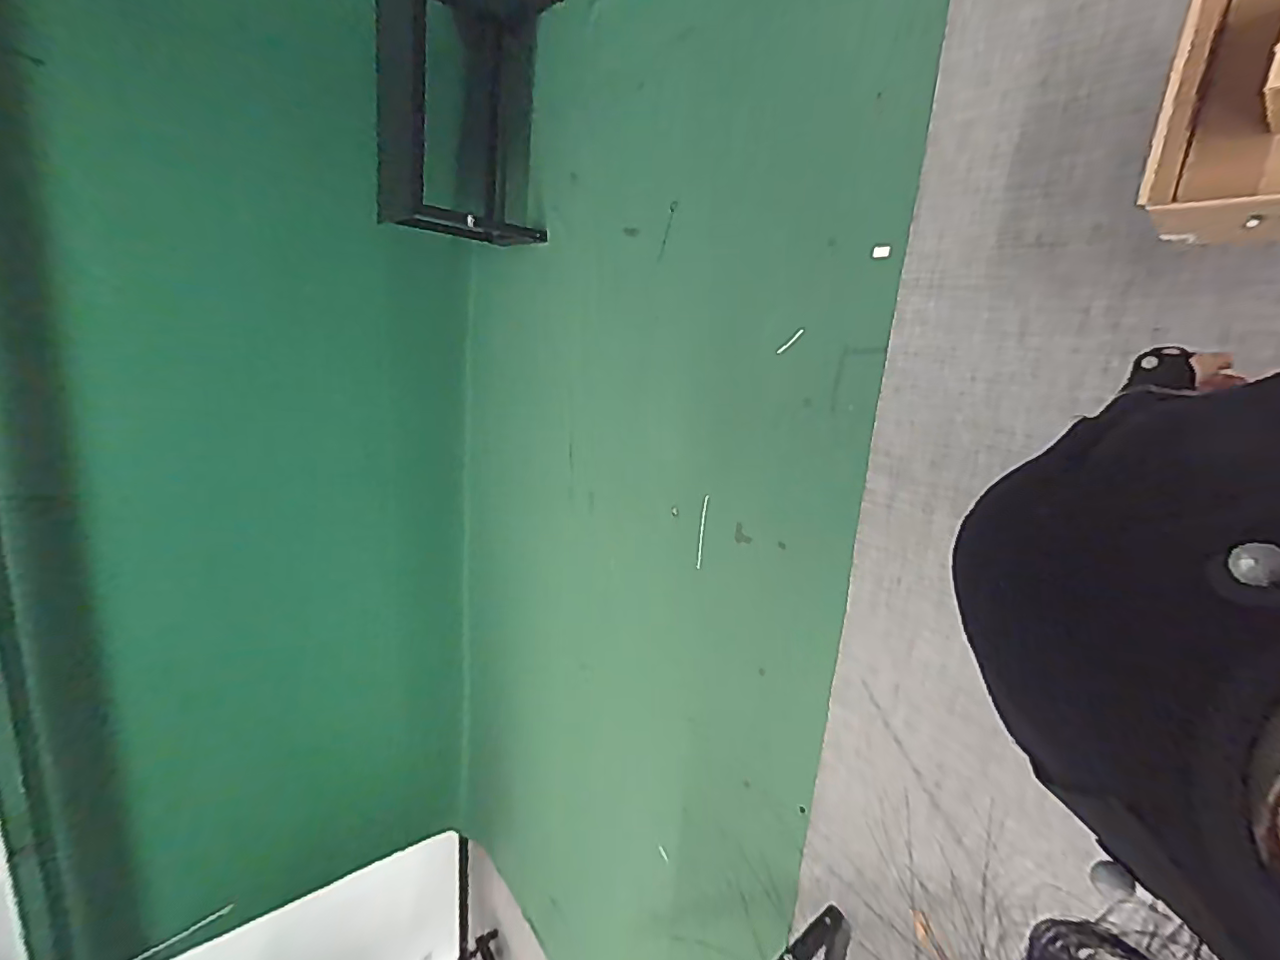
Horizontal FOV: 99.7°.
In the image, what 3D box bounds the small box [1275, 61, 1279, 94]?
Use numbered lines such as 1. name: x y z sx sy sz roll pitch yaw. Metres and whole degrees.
1. small box: 0.847 -0.523 0.580 0.179 0.176 0.168 22 112 49
